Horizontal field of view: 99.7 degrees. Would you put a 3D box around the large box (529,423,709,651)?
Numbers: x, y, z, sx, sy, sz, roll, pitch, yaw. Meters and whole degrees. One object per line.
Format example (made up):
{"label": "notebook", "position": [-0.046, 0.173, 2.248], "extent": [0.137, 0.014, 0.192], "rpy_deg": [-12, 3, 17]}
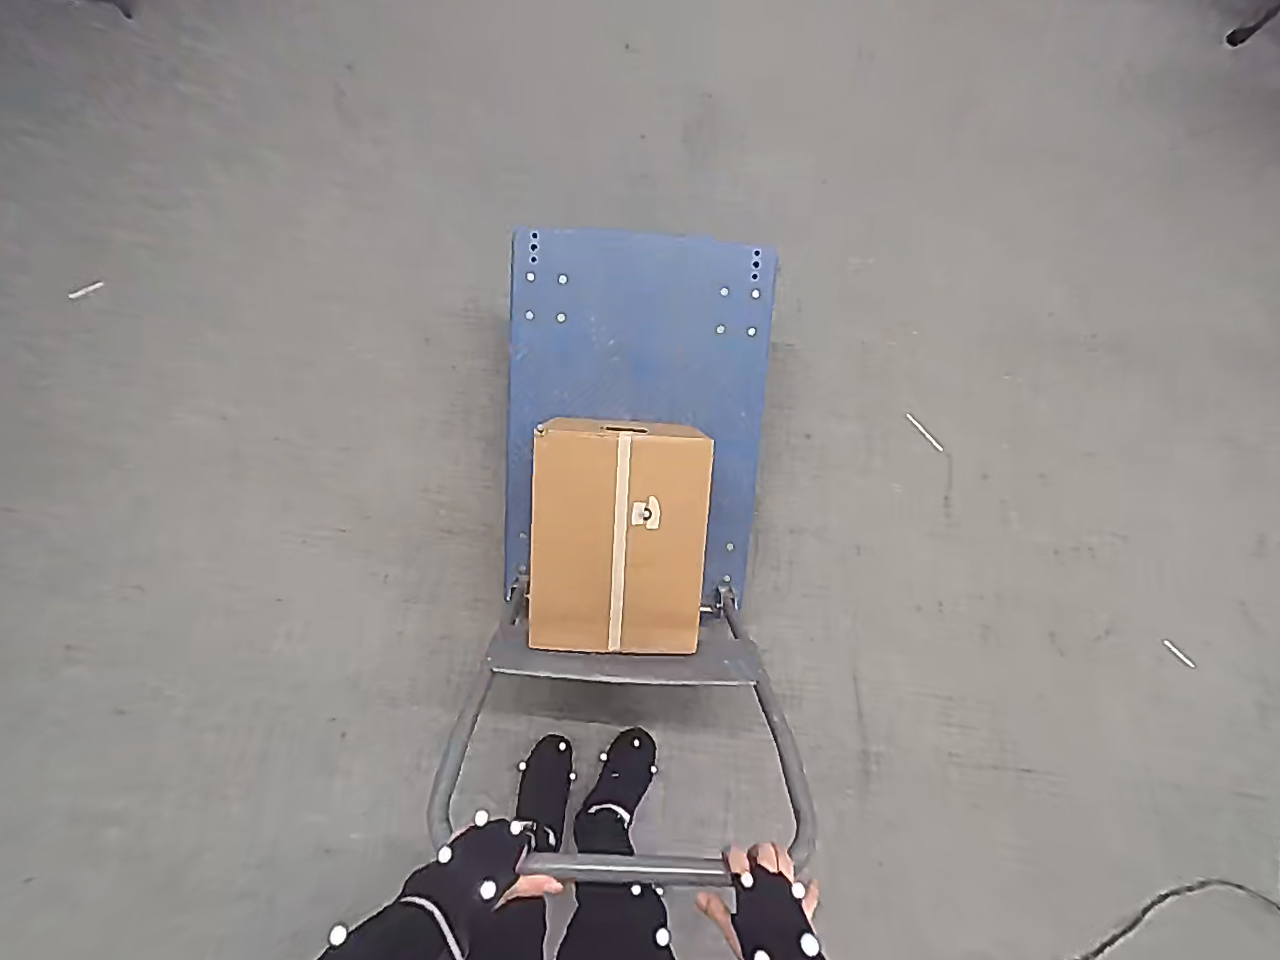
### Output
{"label": "large box", "position": [-0.045, 0.097, 1.122], "extent": [0.320, 0.320, 0.408], "rpy_deg": [3, 99, -4]}
